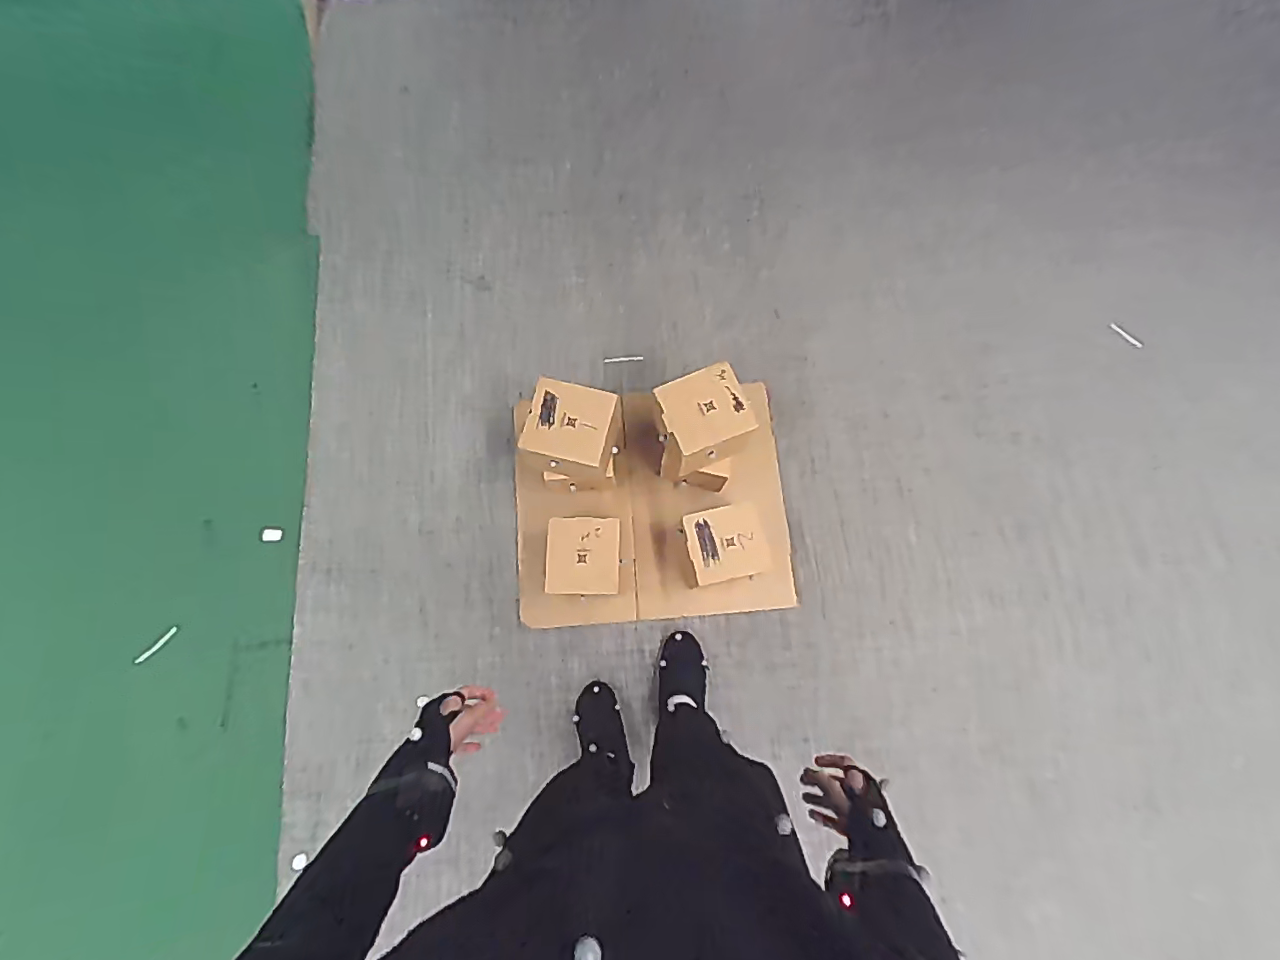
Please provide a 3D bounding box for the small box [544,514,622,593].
[{"bbox_3d":[-0.129,0.181,1.298,0.168,0.176,0.179,1,77,0],"label":"small box"}]

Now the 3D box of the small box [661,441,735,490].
[{"bbox_3d":[0.151,-0.091,1.358,0.168,0.176,0.179,14,77,4],"label":"small box"}]

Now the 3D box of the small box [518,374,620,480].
[{"bbox_3d":[-0.148,-0.110,1.199,0.179,0.176,0.168,14,77,3],"label":"small box"}]

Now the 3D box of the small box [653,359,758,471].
[{"bbox_3d":[0.139,-0.136,1.202,0.179,0.176,0.168,-21,77,-4],"label":"small box"}]

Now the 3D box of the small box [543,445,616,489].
[{"bbox_3d":[-0.147,-0.075,1.360,0.168,0.176,0.179,-3,76,-1],"label":"small box"}]
